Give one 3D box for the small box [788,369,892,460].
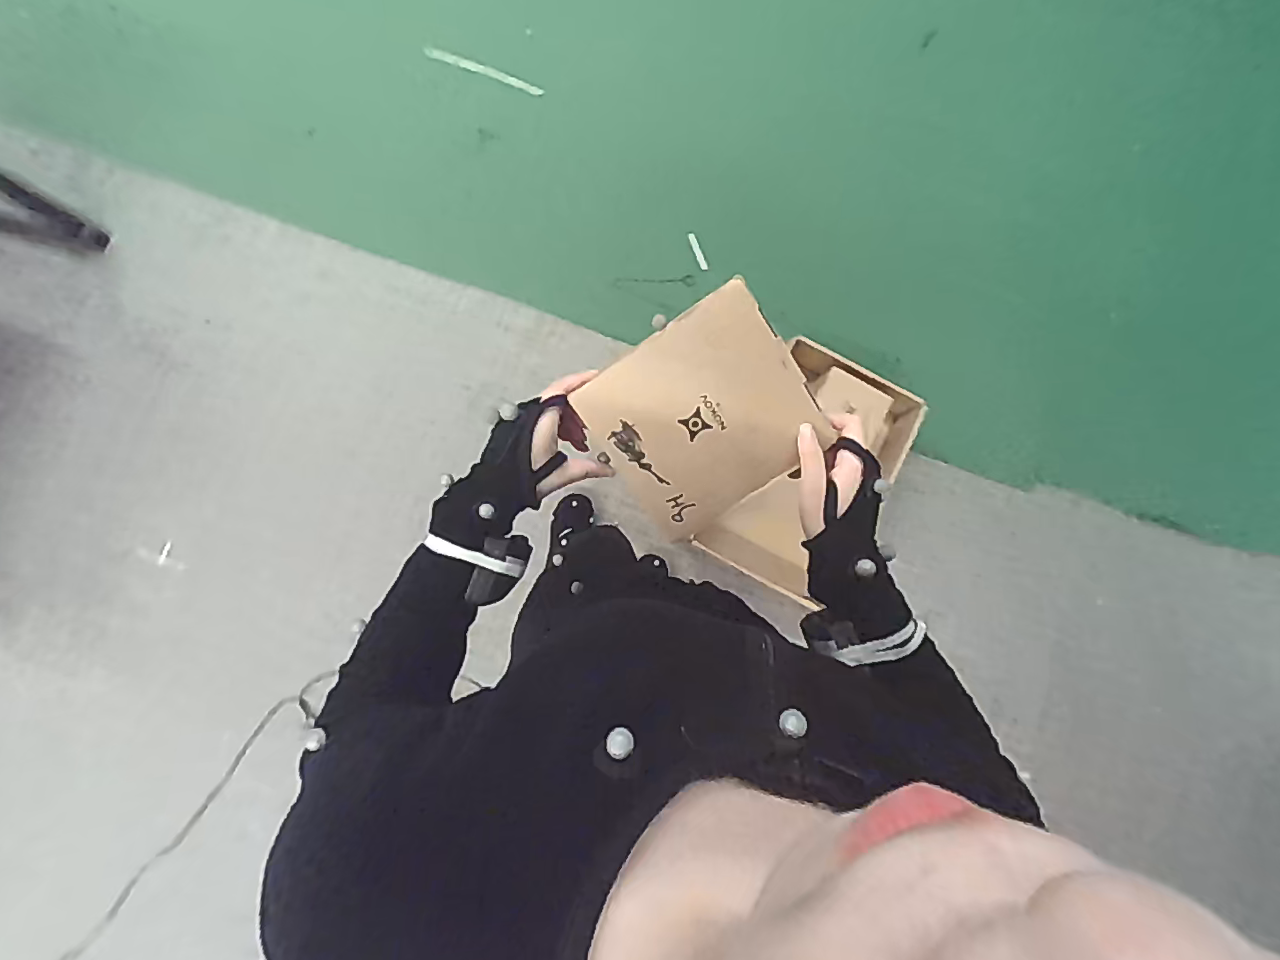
[{"bbox_3d":[0.522,-0.164,1.439,0.179,0.176,0.168,30,85,0],"label":"small box"}]
